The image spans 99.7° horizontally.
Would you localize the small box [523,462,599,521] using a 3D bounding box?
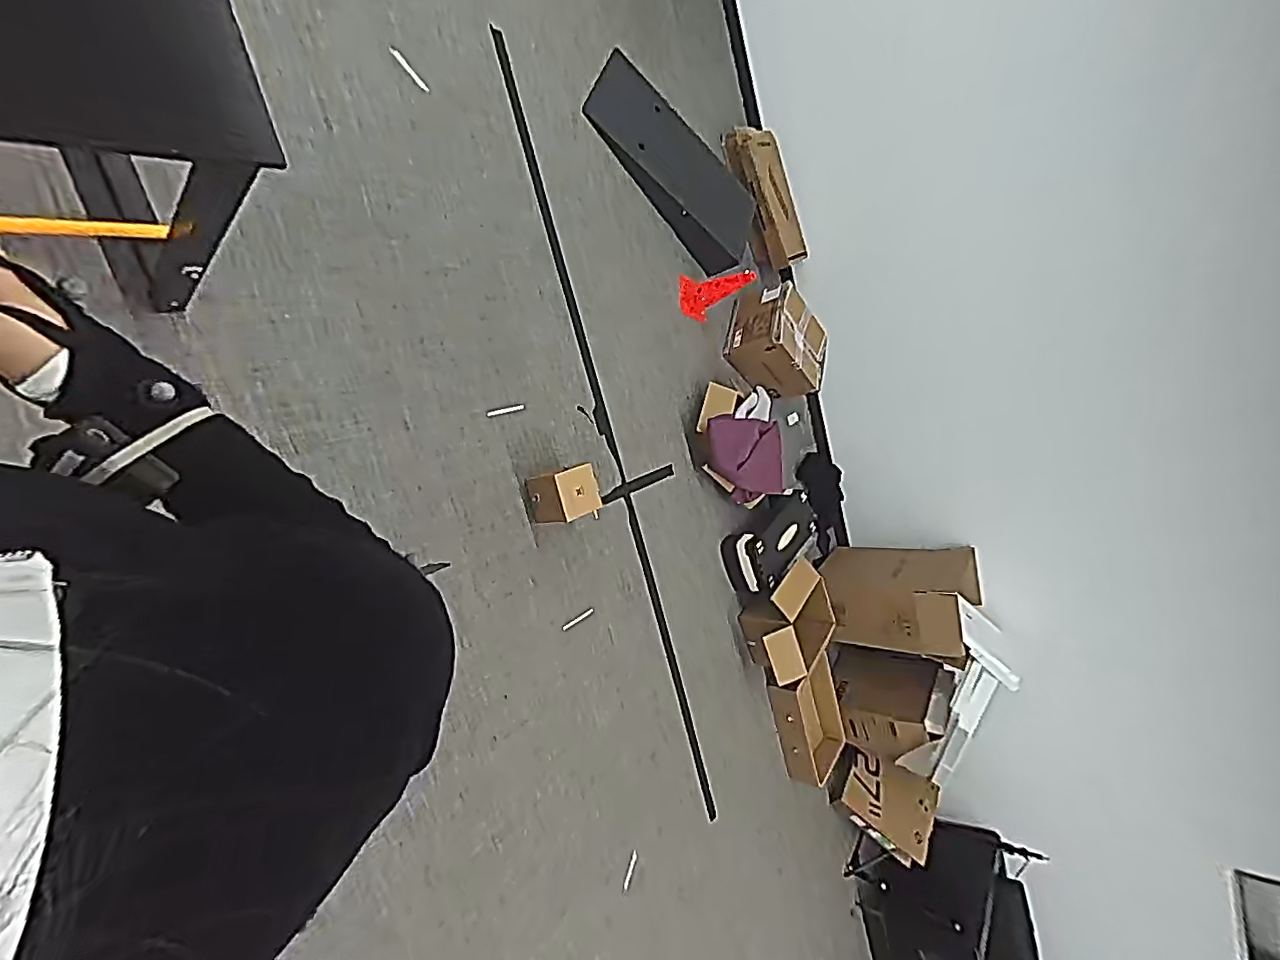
[{"bbox_3d":[-0.277,0.040,1.886,0.179,0.176,0.168,-24,102,-46],"label":"small box"}]
